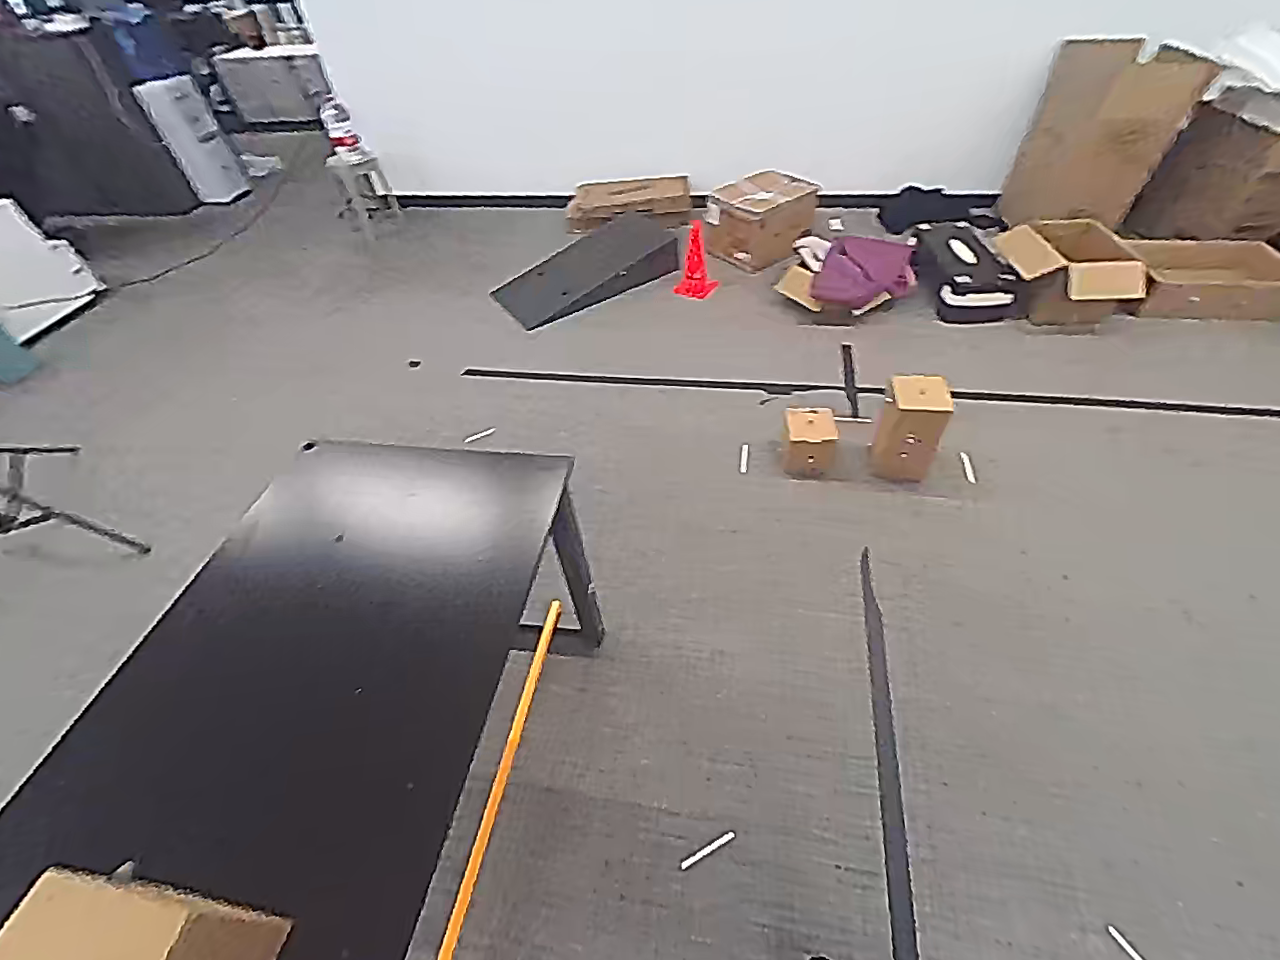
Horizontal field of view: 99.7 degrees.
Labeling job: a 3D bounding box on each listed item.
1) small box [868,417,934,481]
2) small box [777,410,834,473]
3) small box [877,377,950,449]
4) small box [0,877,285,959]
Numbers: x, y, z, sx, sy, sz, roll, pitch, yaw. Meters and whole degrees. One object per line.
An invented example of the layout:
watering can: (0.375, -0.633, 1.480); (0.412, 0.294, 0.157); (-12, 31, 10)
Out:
small box: (0.930, -0.116, 1.944); (0.179, 0.176, 0.168); (8, 49, 10)
small box: (0.604, -0.138, 1.991); (0.168, 0.176, 0.179); (0, 48, 5)
small box: (0.914, -0.226, 1.826); (0.168, 0.176, 0.179); (3, 49, 9)
small box: (-0.498, 0.505, 0.514); (0.179, 0.176, 0.168); (5, 49, 10)
